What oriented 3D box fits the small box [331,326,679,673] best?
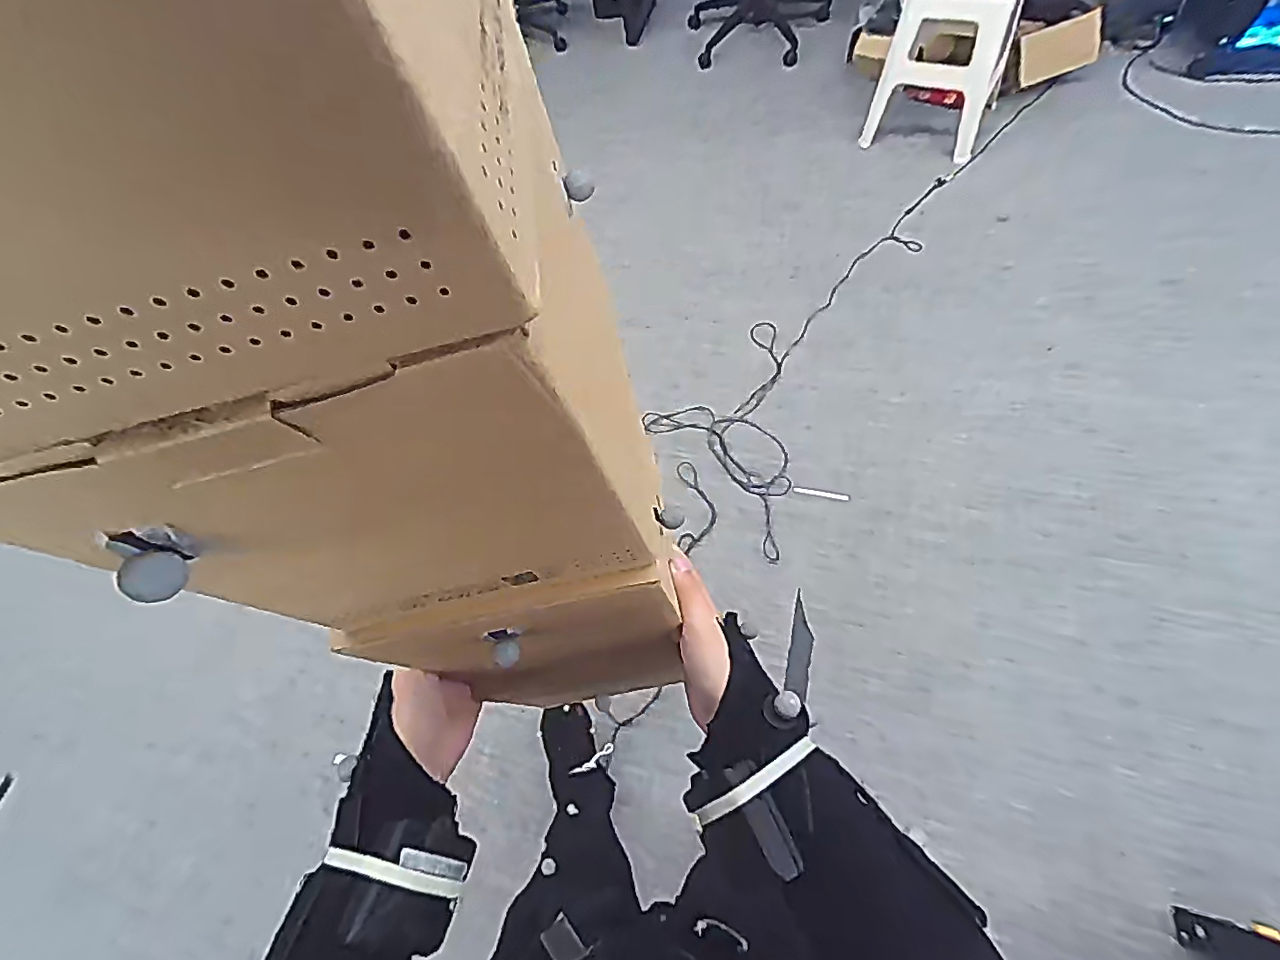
[{"bbox_3d":[-0.073,0.029,0.375,0.179,0.176,0.168,-14,63,6],"label":"small box"}]

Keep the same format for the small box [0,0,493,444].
[{"bbox_3d":[-0.134,-0.120,0.086,0.179,0.176,0.168,-13,62,6],"label":"small box"}]

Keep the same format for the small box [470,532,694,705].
[{"bbox_3d":[-0.049,0.106,0.516,0.168,0.176,0.179,-13,64,5],"label":"small box"}]
